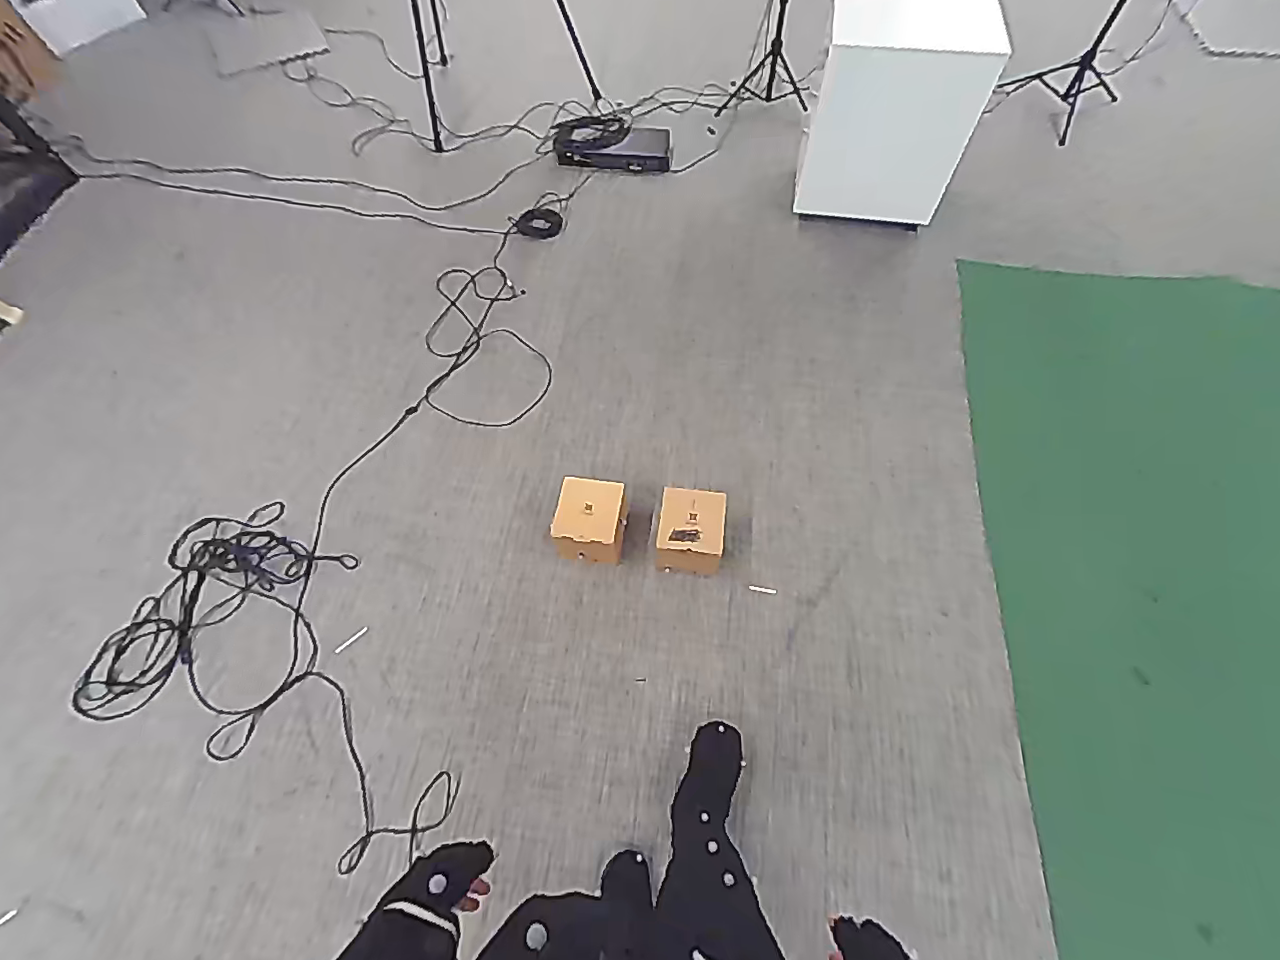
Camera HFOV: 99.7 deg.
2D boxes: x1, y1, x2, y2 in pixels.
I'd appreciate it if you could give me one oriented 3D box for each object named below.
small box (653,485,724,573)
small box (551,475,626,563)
[{"bbox_3d":[0.130,0.136,1.451,0.168,0.176,0.179,6,61,6],"label":"small box"},{"bbox_3d":[-0.133,0.109,1.478,0.168,0.176,0.179,7,62,6],"label":"small box"}]
